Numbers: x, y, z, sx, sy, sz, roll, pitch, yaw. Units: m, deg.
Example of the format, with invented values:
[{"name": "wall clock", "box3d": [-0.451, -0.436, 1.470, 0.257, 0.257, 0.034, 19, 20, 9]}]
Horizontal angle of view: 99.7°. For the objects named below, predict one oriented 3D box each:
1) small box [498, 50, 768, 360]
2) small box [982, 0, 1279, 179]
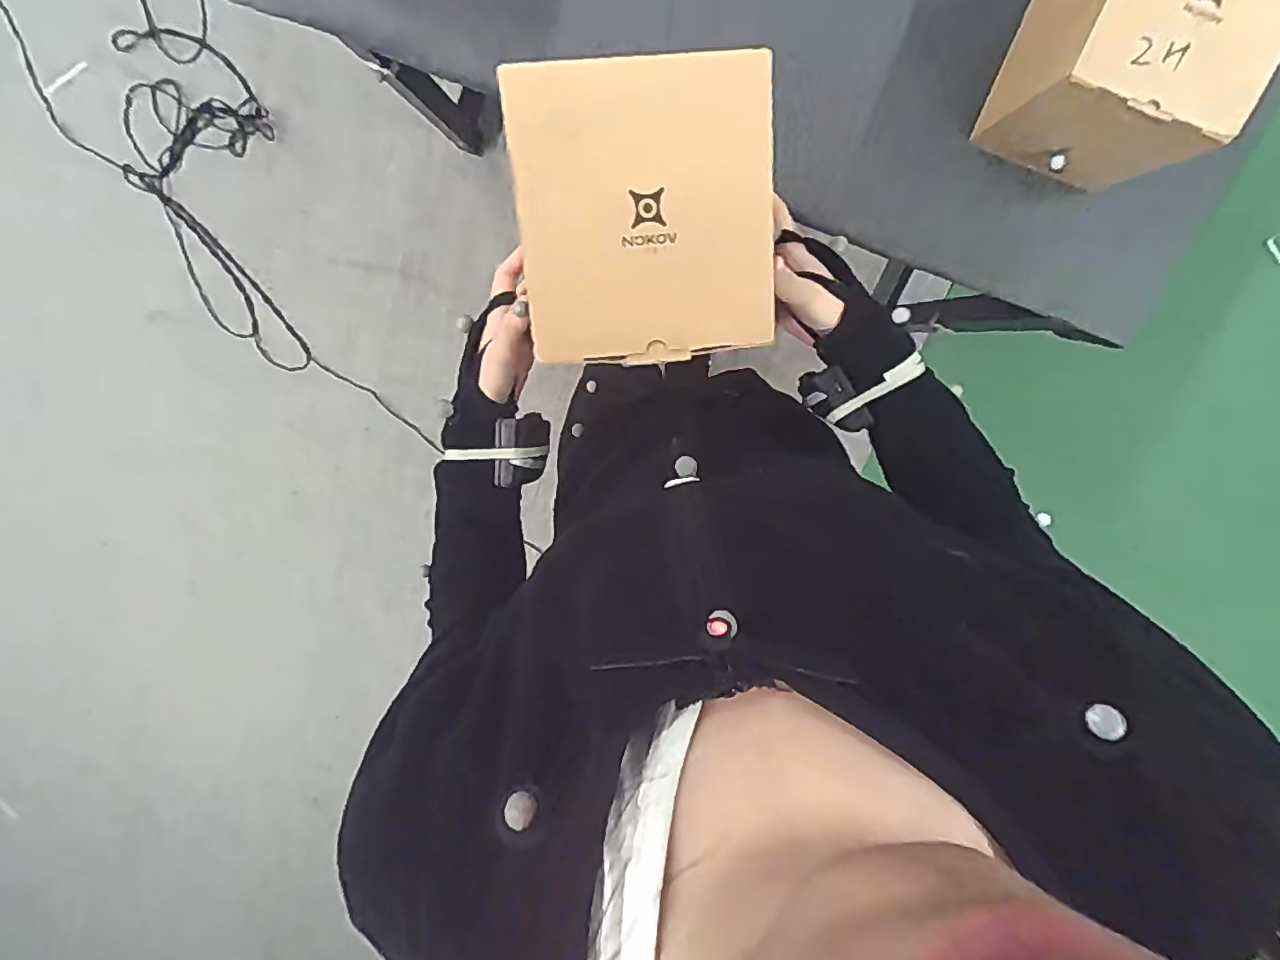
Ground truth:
[{"name": "small box", "box3d": [-0.006, -0.195, 0.428, 0.168, 0.176, 0.179, -7, 107, -3]}, {"name": "small box", "box3d": [0.487, -0.435, 0.535, 0.168, 0.176, 0.179, 19, 105, -1]}]
